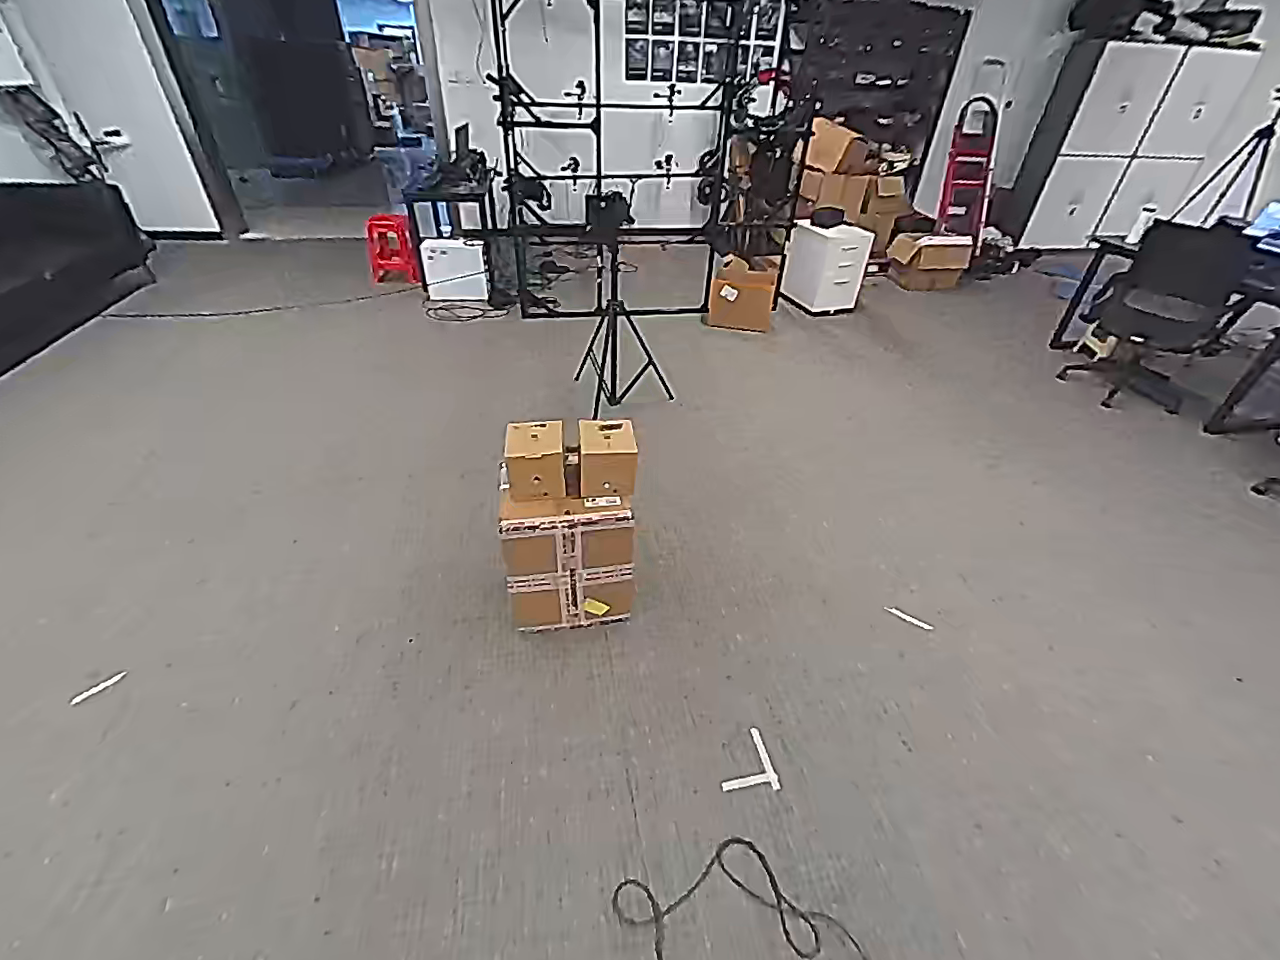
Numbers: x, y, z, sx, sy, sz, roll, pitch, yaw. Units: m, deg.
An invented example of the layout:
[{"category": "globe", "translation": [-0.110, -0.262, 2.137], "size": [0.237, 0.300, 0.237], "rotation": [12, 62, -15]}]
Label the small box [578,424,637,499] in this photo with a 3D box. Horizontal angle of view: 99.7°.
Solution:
[{"category": "small box", "translation": [-0.106, -0.058, 1.667], "size": [0.168, 0.176, 0.179], "rotation": [-2, 40, -9]}]

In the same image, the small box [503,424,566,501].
[{"category": "small box", "translation": [-0.314, -0.048, 1.639], "size": [0.168, 0.176, 0.179], "rotation": [-4, 40, -6]}]
